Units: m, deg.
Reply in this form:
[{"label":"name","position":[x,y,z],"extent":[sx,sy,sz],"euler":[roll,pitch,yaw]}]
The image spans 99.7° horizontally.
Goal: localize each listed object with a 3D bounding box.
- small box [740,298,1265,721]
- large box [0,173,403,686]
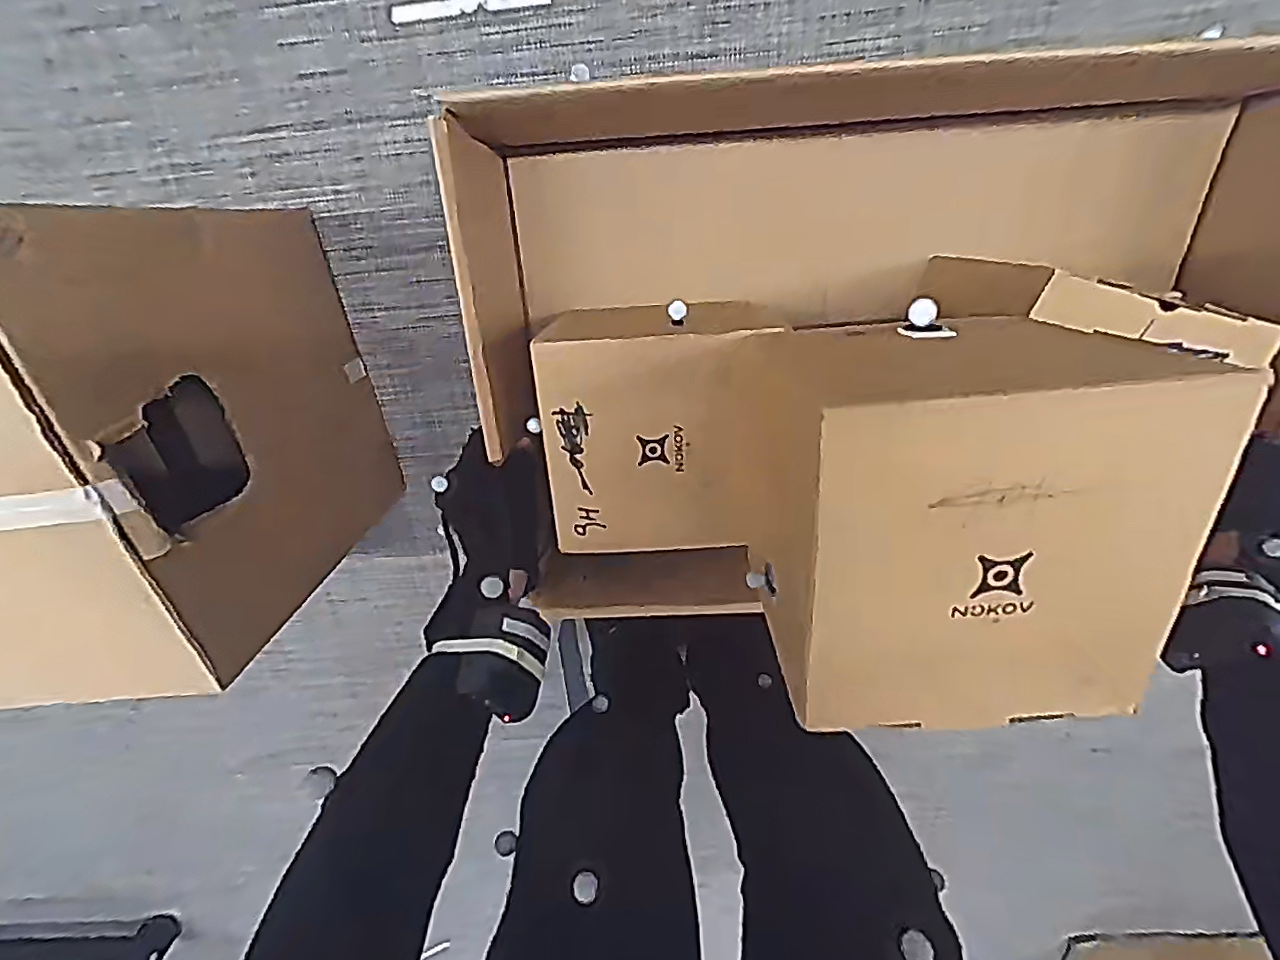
[{"label":"small box","position":[0.152,0.004,0.305],"extent":[0.168,0.176,0.179],"euler":[-5,114,3]},{"label":"large box","position":[-0.497,-0.049,0.463],"extent":[0.408,0.320,0.320],"euler":[-7,117,4]}]
